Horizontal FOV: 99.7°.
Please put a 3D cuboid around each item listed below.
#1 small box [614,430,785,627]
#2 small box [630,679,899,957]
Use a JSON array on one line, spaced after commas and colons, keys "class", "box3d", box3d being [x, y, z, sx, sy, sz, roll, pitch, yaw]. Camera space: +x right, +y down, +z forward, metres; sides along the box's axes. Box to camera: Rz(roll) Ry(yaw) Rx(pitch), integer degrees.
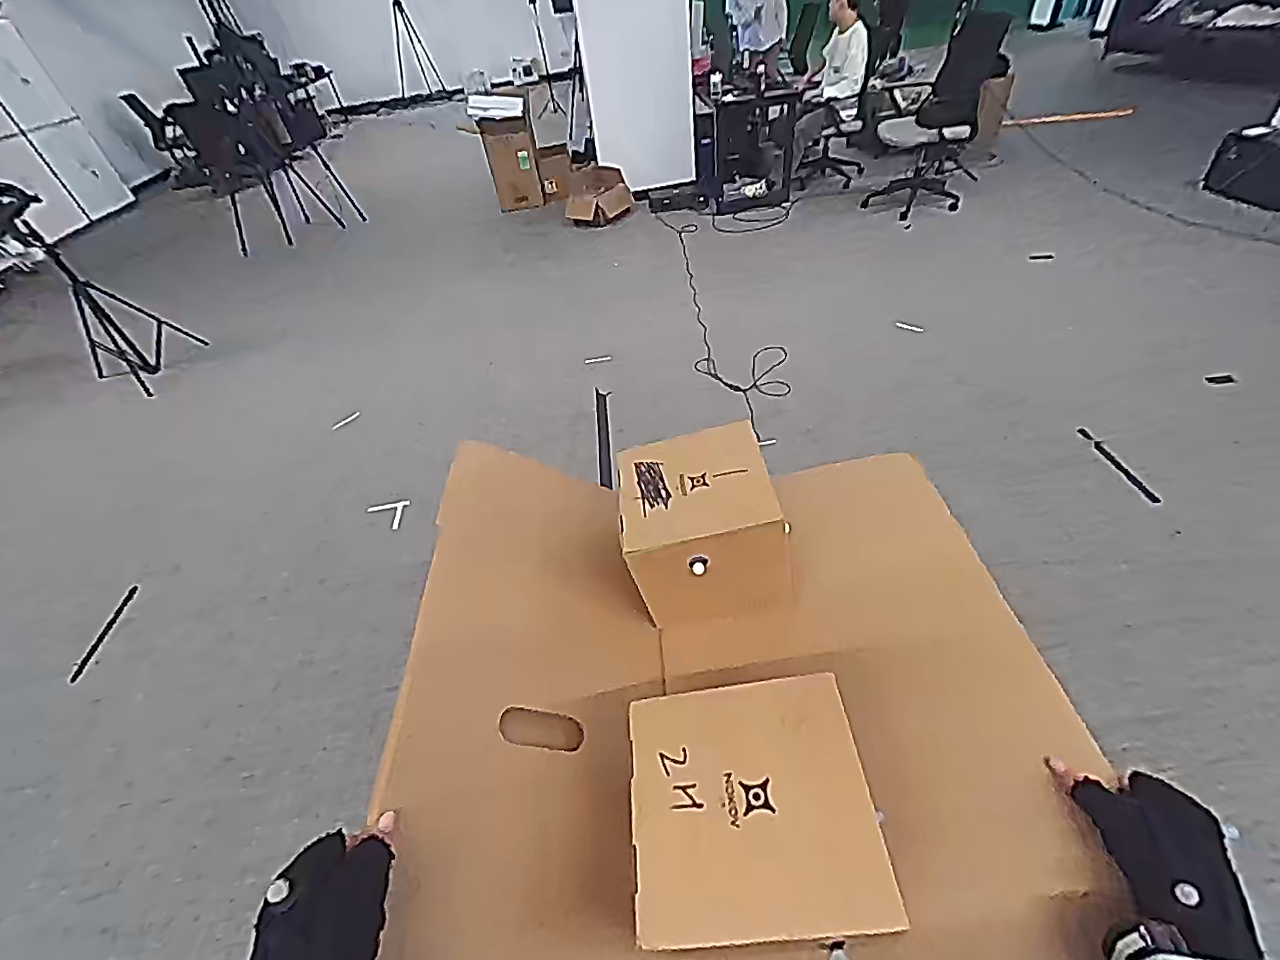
[{"class": "small box", "box3d": [0.076, 0.068, 0.690, 0.179, 0.176, 0.168, -13, 45, 7]}, {"class": "small box", "box3d": [0.097, 0.293, 0.463, 0.179, 0.176, 0.168, -12, 44, 10]}]
